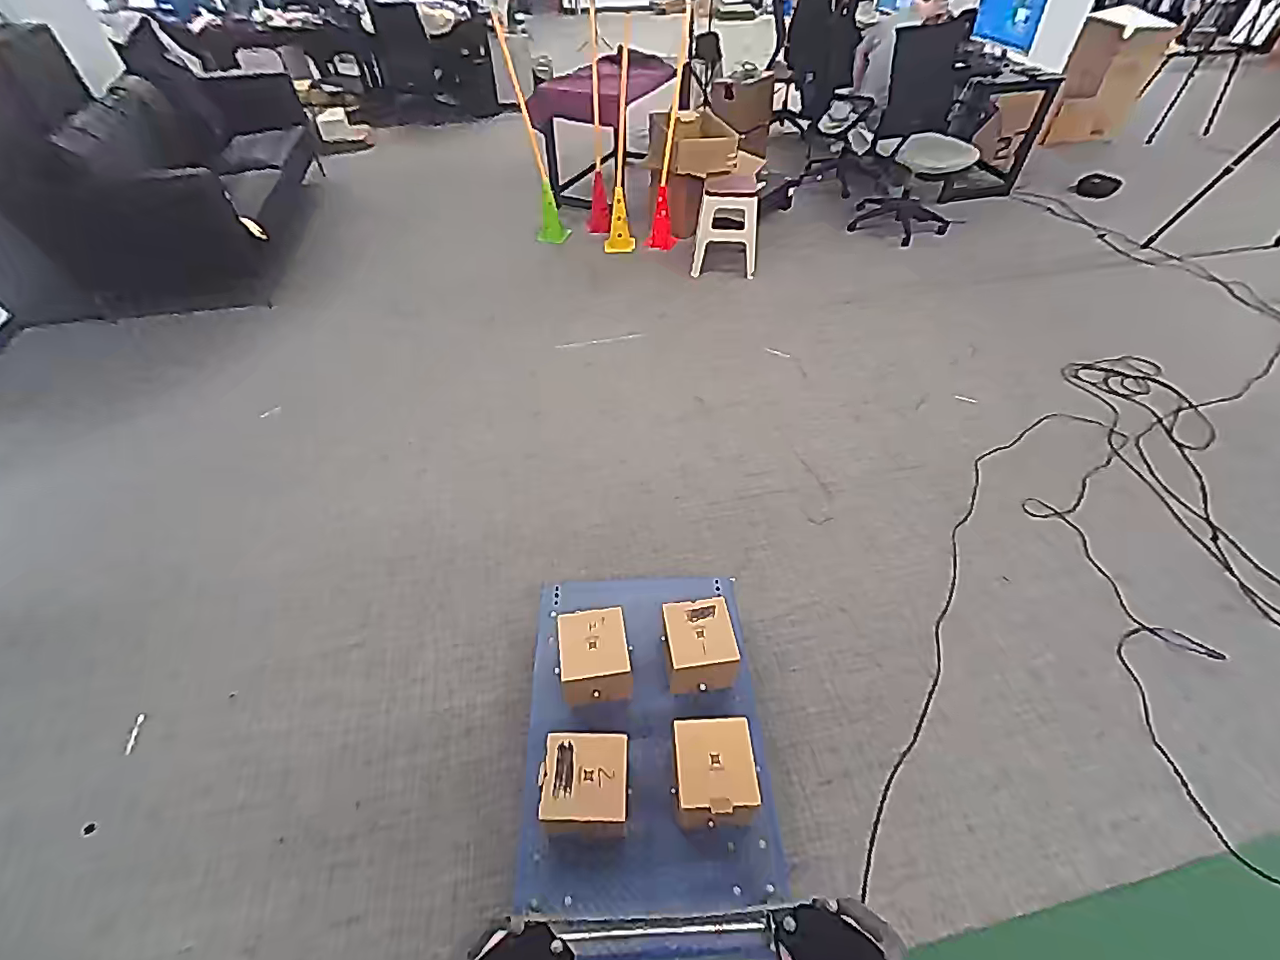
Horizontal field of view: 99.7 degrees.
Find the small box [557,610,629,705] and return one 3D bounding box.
[{"bbox_3d":[-0.119,0.456,1.376,0.168,0.176,0.179,-6,48,-7],"label":"small box"}]

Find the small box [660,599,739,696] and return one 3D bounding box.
[{"bbox_3d":[0.146,0.434,1.400,0.168,0.176,0.179,-6,49,-5],"label":"small box"}]

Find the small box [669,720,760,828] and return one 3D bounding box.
[{"bbox_3d":[0.157,0.653,1.201,0.168,0.176,0.179,-2,48,-3],"label":"small box"}]
